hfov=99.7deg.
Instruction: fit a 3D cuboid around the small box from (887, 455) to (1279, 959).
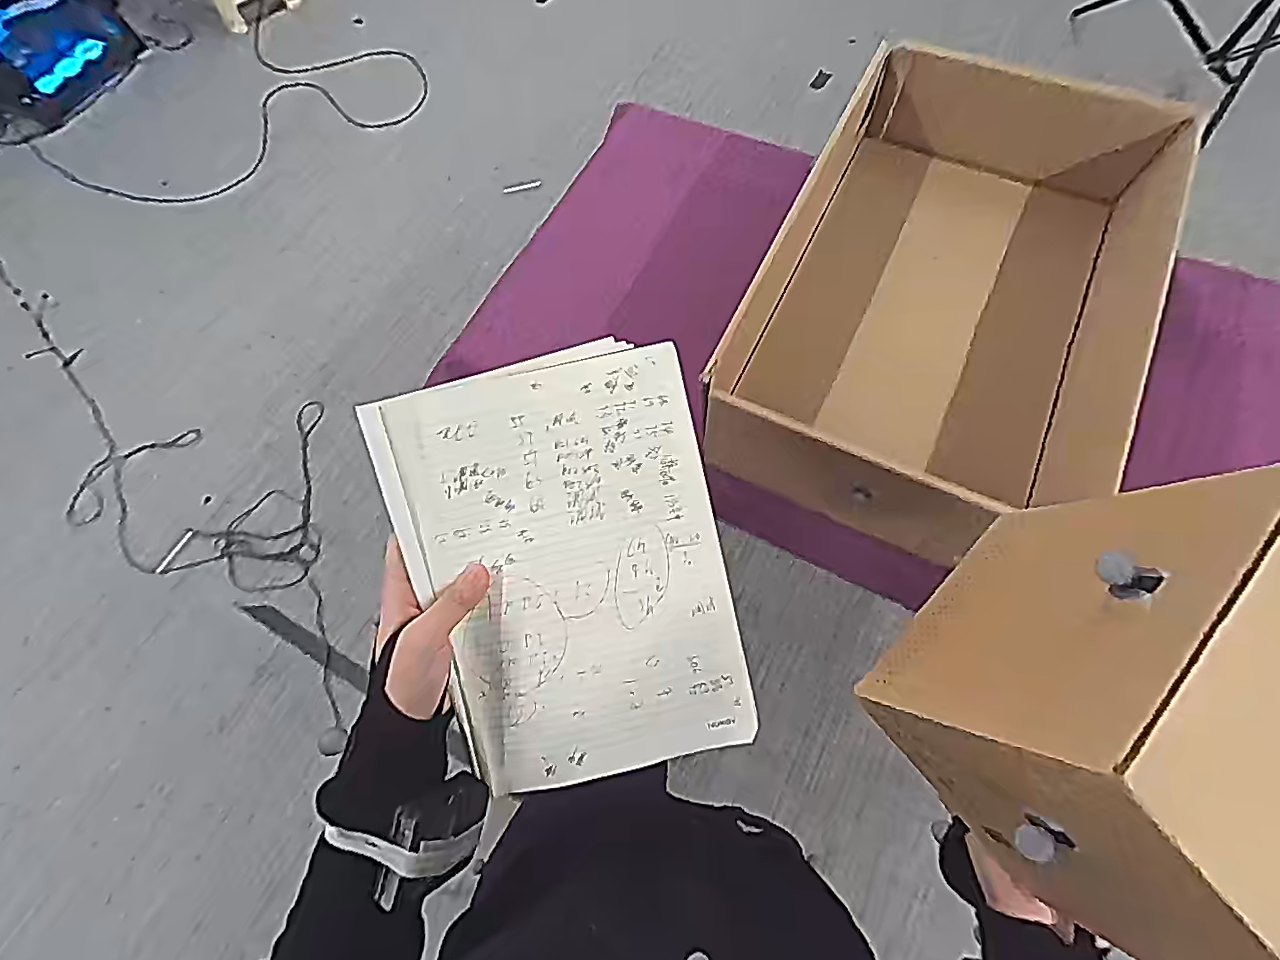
[{"bbox_3d":[0.262,0.116,0.273,0.179,0.176,0.168,-41,87,-16],"label":"small box"}]
